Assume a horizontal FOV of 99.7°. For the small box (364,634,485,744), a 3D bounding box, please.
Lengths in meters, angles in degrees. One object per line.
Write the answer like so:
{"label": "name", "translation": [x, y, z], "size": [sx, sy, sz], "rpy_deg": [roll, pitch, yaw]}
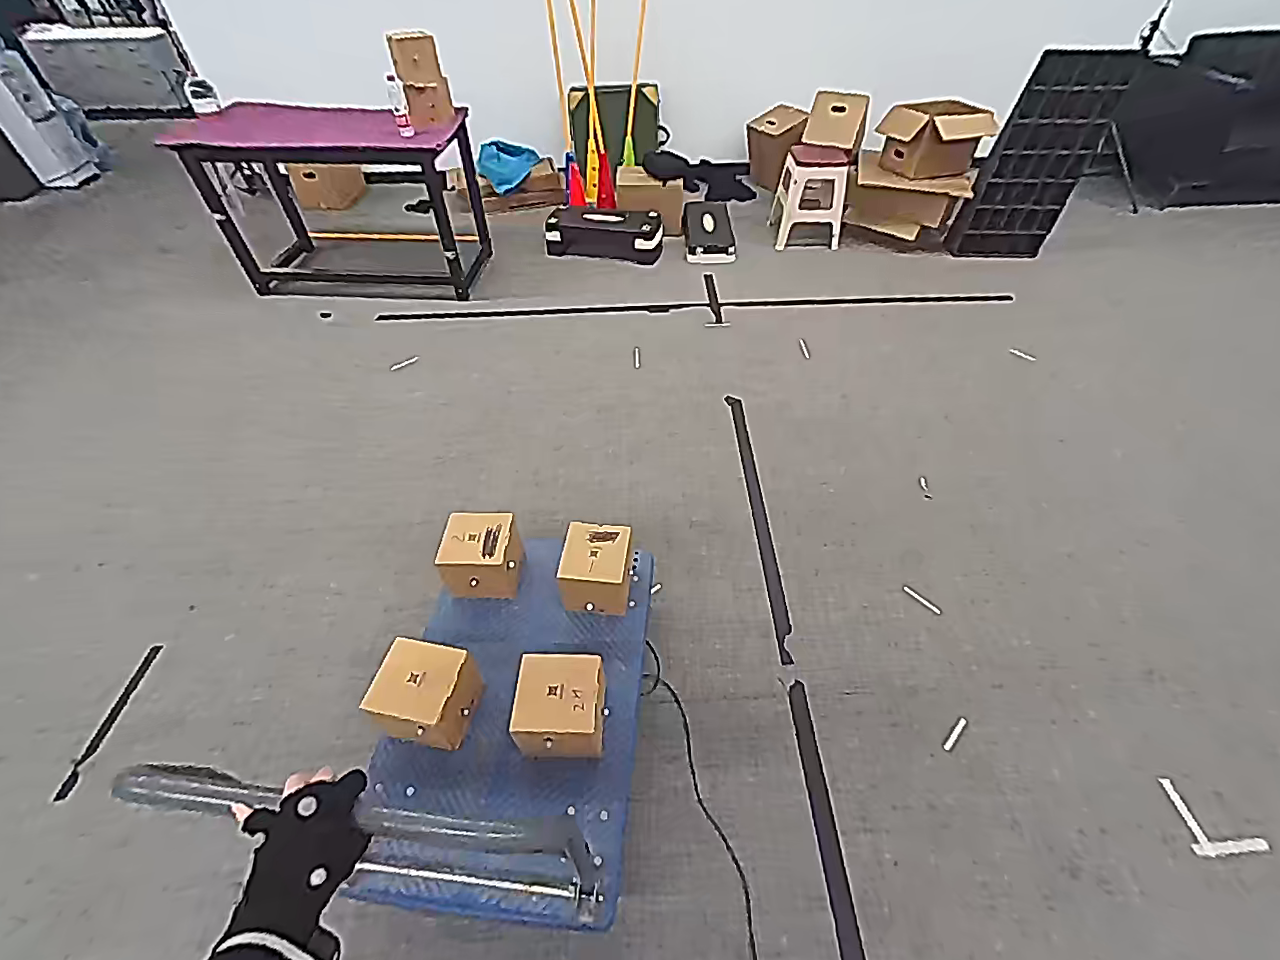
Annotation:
{"label": "small box", "translation": [-0.475, 0.474, 1.221], "size": [0.179, 0.176, 0.168], "rpy_deg": [9, 48, 7]}

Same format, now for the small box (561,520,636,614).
{"label": "small box", "translation": [-0.104, 0.231, 1.437], "size": [0.168, 0.176, 0.179], "rpy_deg": [5, 49, 6]}

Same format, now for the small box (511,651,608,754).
{"label": "small box", "translation": [-0.168, 0.495, 1.197], "size": [0.179, 0.176, 0.168], "rpy_deg": [1, 48, 2]}
